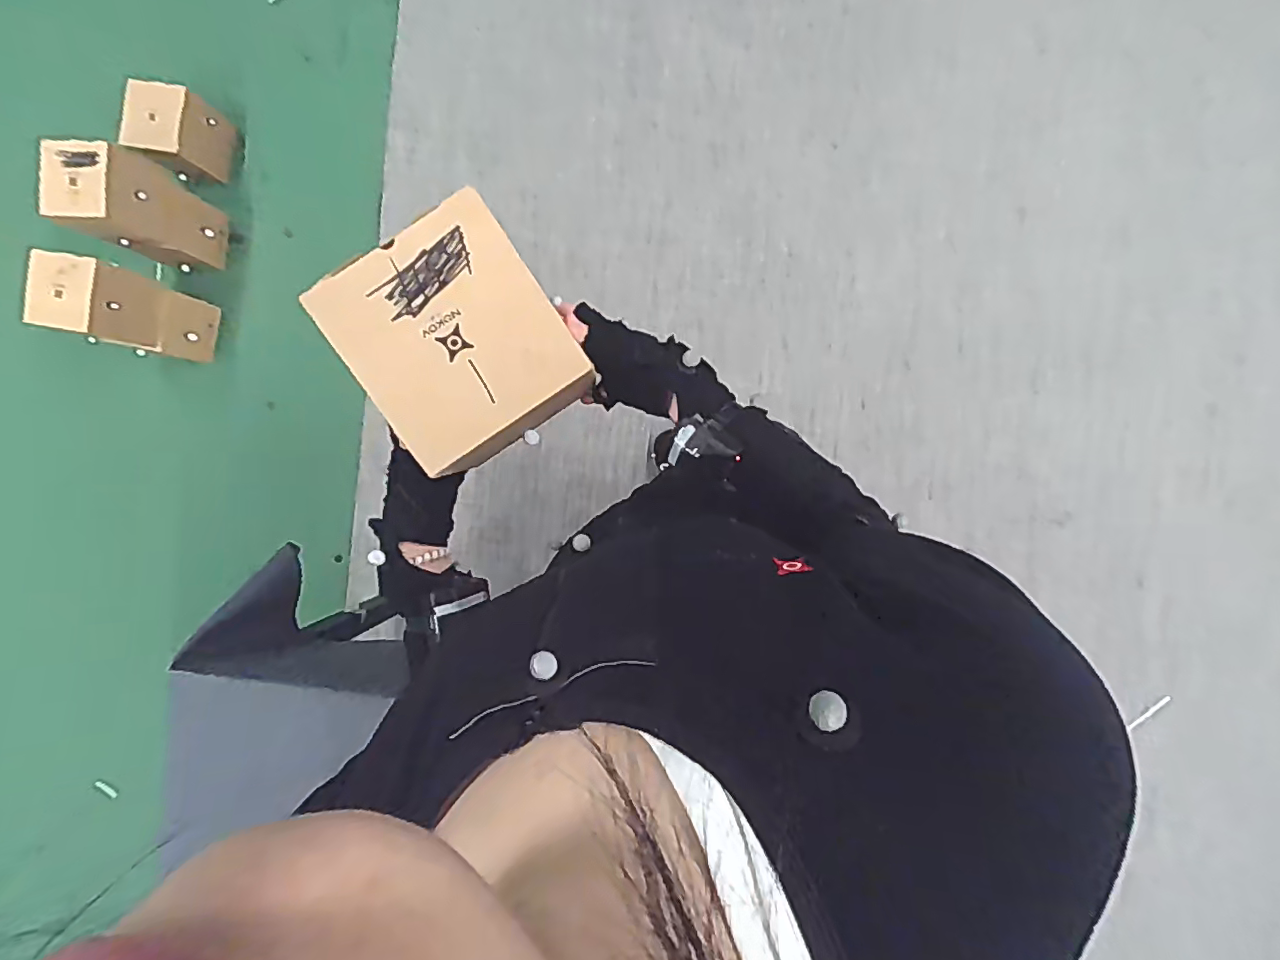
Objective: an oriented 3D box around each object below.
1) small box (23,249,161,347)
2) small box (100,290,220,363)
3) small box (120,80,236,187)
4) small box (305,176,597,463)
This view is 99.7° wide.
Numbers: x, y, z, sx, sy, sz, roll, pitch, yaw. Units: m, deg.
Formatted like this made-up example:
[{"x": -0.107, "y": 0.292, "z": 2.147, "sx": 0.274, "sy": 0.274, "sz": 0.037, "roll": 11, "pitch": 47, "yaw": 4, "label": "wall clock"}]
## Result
[{"x": -1.332, "y": -0.437, "z": 1.326, "sx": 0.168, "sy": 0.176, "sz": 0.179, "roll": 10, "pitch": 91, "yaw": 3, "label": "small box"}, {"x": -1.313, "y": -0.429, "z": 1.490, "sx": 0.179, "sy": 0.176, "sz": 0.168, "roll": 11, "pitch": 91, "yaw": 4, "label": "small box"}, {"x": -1.257, "y": -0.942, "z": 1.483, "sx": 0.168, "sy": 0.176, "sz": 0.179, "roll": 10, "pitch": 91, "yaw": 4, "label": "small box"}, {"x": -0.156, "y": -0.131, "z": 0.510, "sx": 0.168, "sy": 0.176, "sz": 0.179, "roll": -34, "pitch": 96, "yaw": -1, "label": "small box"}]
